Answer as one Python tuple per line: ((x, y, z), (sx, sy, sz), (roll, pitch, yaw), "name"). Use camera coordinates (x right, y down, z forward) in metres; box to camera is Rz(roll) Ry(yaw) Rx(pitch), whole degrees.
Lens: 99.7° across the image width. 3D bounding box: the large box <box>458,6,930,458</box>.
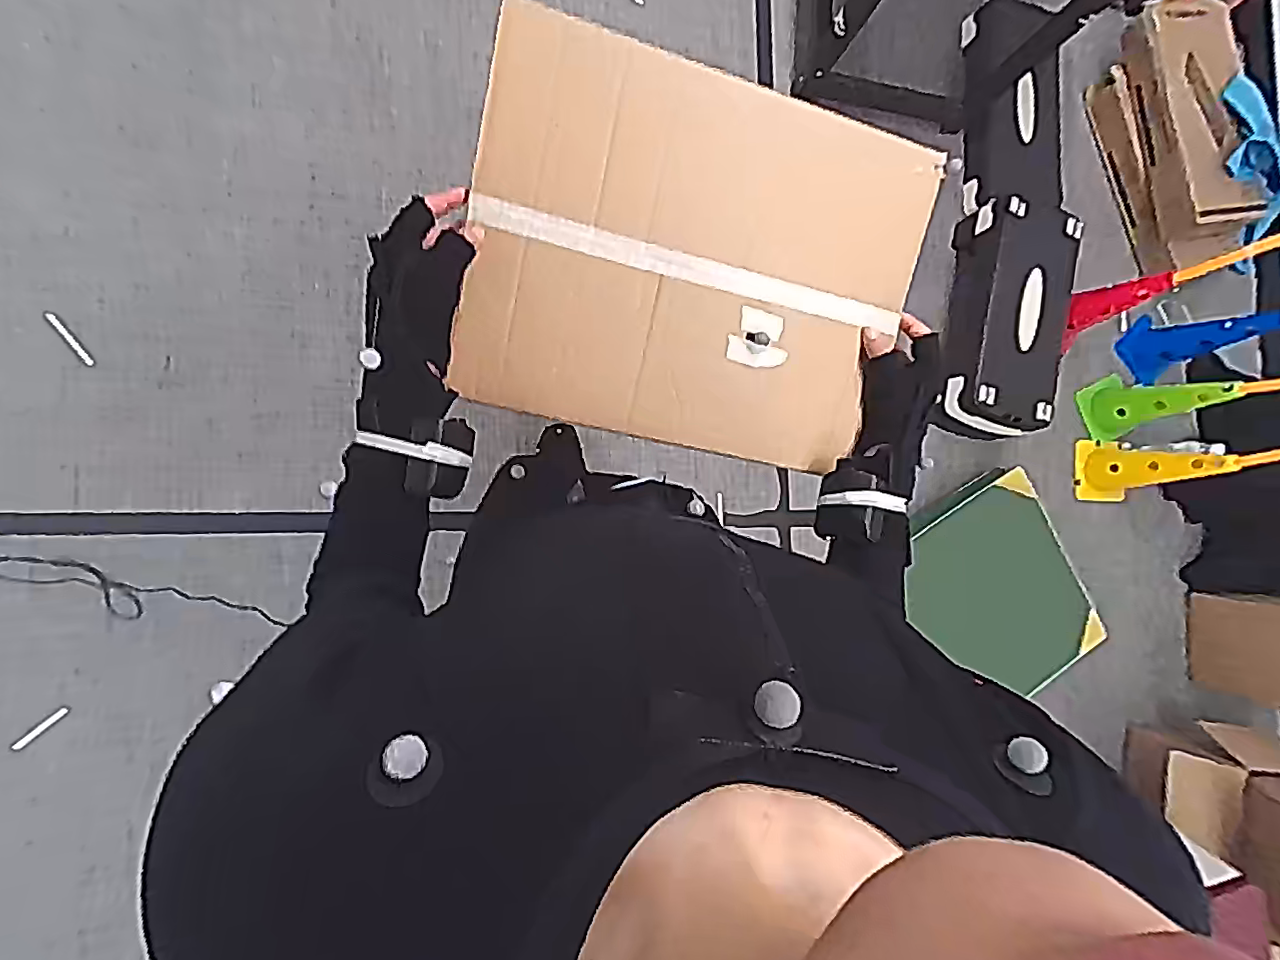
((0.029, -0.234, 0.642), (0.408, 0.320, 0.320), (11, 101, -13), "large box")
